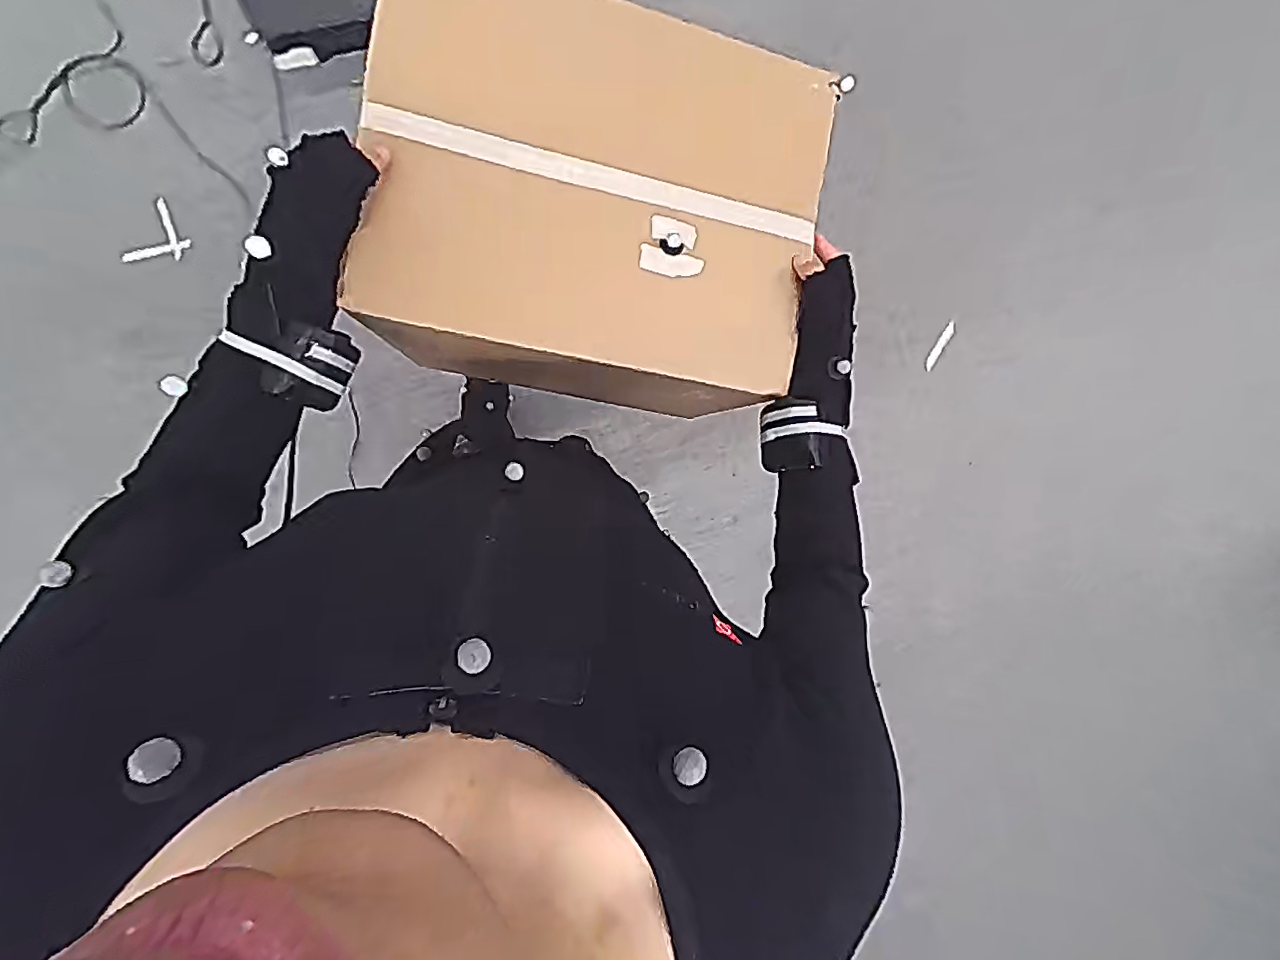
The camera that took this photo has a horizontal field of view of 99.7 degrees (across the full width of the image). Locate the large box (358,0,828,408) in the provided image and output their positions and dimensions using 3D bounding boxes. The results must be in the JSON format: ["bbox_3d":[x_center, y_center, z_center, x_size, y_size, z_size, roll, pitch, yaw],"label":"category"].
[{"bbox_3d":[-0.058,-0.278,0.636,0.408,0.320,0.320,8,91,-12],"label":"large box"}]
